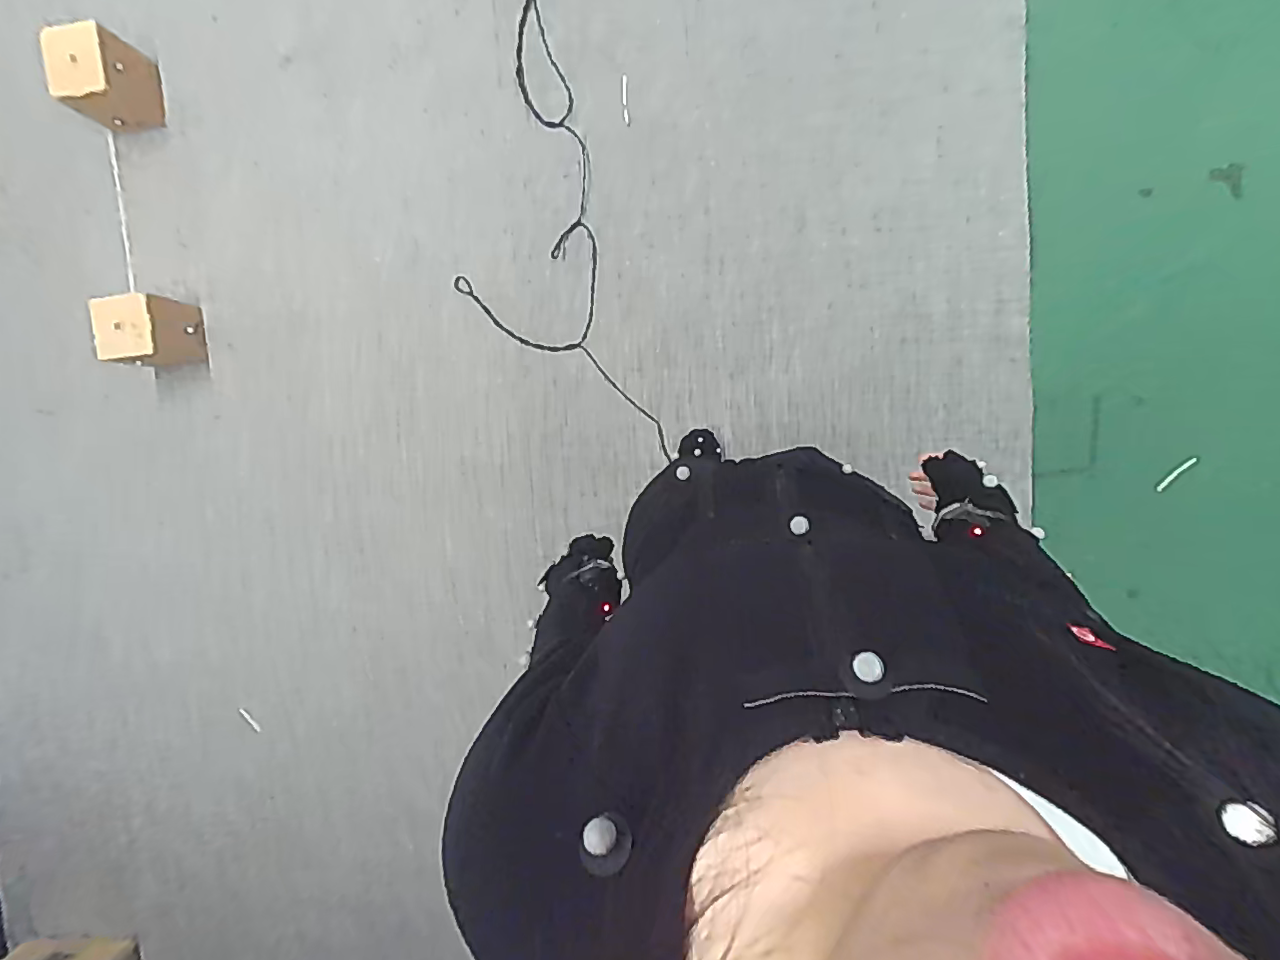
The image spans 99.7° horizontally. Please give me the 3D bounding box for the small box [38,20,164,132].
[{"bbox_3d":[-1.461,-1.094,1.476,0.168,0.176,0.179,-5,95,6],"label":"small box"}]

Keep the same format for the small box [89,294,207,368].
[{"bbox_3d":[-1.384,-0.415,1.529,0.179,0.176,0.168,-5,95,6],"label":"small box"}]
